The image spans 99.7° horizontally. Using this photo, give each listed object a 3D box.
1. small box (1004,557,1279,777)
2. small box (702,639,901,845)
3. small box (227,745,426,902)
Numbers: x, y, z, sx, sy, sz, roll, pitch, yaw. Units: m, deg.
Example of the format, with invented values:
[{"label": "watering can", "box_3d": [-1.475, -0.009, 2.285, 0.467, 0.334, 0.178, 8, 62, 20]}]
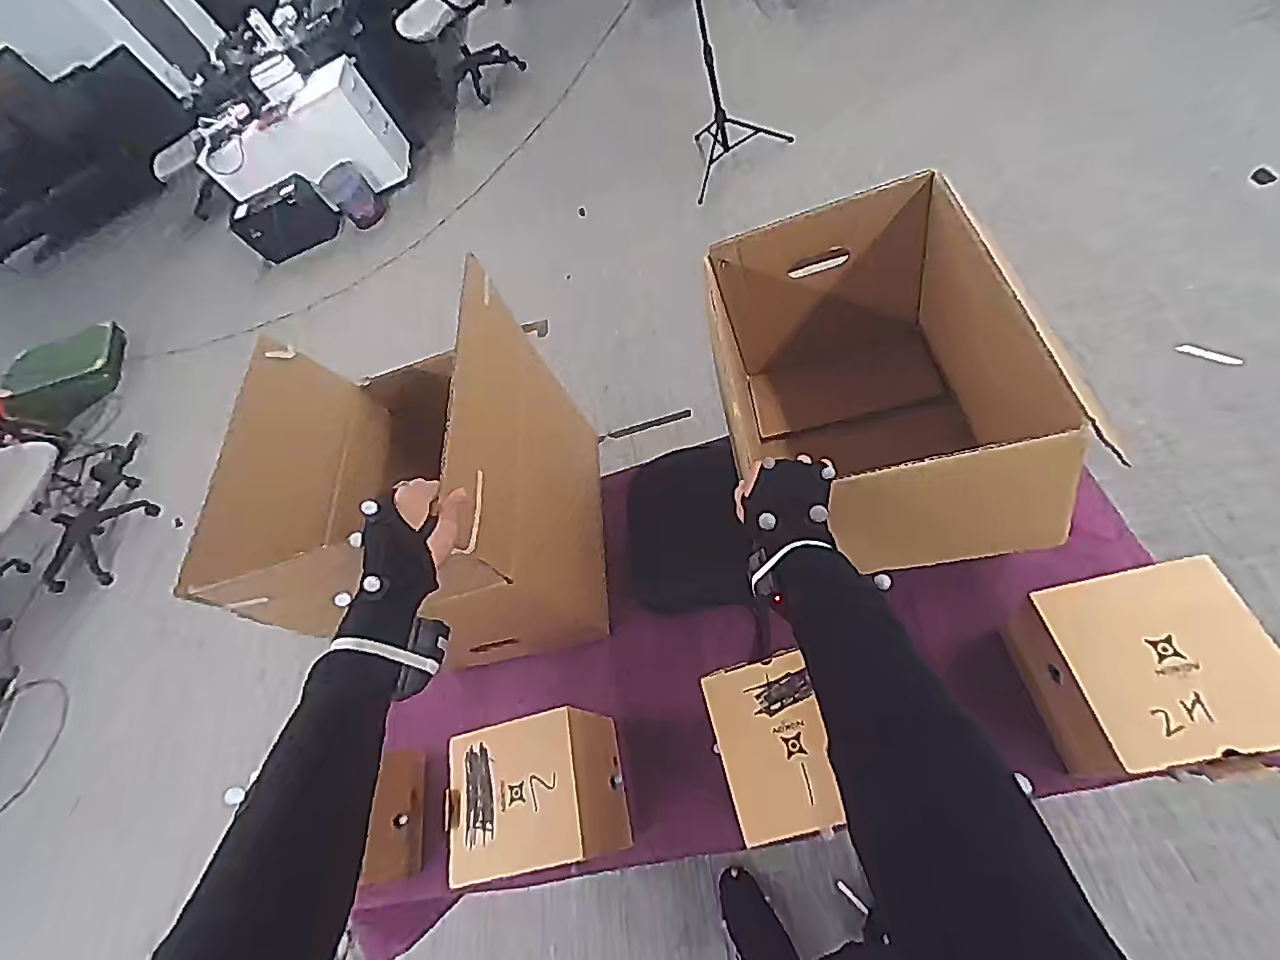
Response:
[{"label": "small box", "box_3d": [0.525, 0.207, 0.577, 0.168, 0.176, 0.179, -17, 57, 14]}, {"label": "small box", "box_3d": [0.190, 0.316, 0.653, 0.168, 0.176, 0.179, -21, 58, 10]}, {"label": "small box", "box_3d": [-0.450, 0.504, 0.803, 0.179, 0.176, 0.168, -17, 58, 11]}]
